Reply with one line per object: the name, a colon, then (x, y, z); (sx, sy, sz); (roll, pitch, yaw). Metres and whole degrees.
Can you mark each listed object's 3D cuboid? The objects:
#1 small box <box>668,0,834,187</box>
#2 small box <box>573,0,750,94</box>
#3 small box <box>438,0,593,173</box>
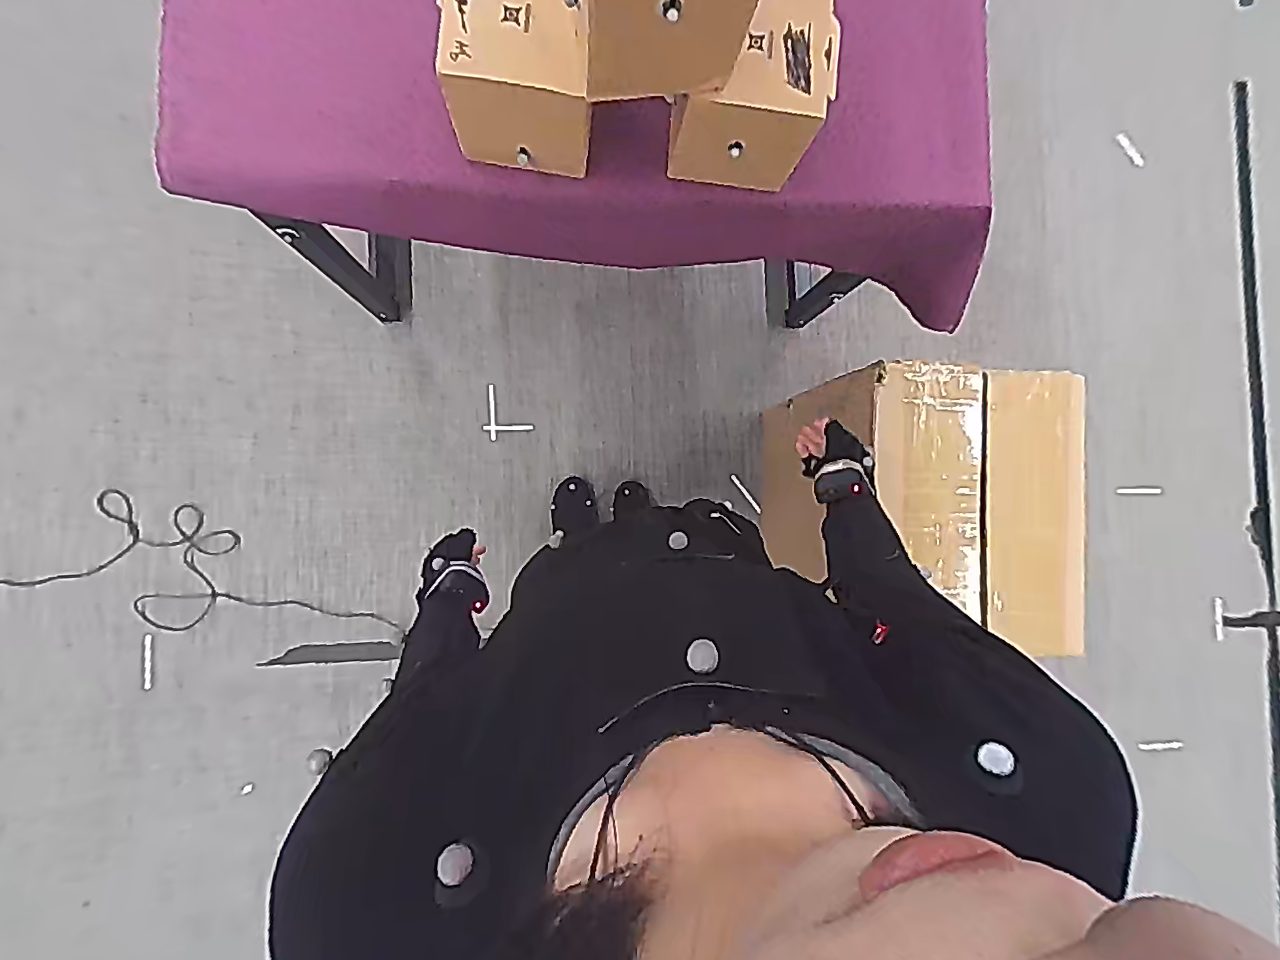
small box: (0.142, -0.532, 0.741); (0.179, 0.176, 0.168); (4, 87, -5)
small box: (0.017, -0.543, 0.565); (0.179, 0.176, 0.168); (-10, 91, -7)
small box: (-0.148, -0.537, 0.710); (0.179, 0.176, 0.168); (5, 87, -7)
